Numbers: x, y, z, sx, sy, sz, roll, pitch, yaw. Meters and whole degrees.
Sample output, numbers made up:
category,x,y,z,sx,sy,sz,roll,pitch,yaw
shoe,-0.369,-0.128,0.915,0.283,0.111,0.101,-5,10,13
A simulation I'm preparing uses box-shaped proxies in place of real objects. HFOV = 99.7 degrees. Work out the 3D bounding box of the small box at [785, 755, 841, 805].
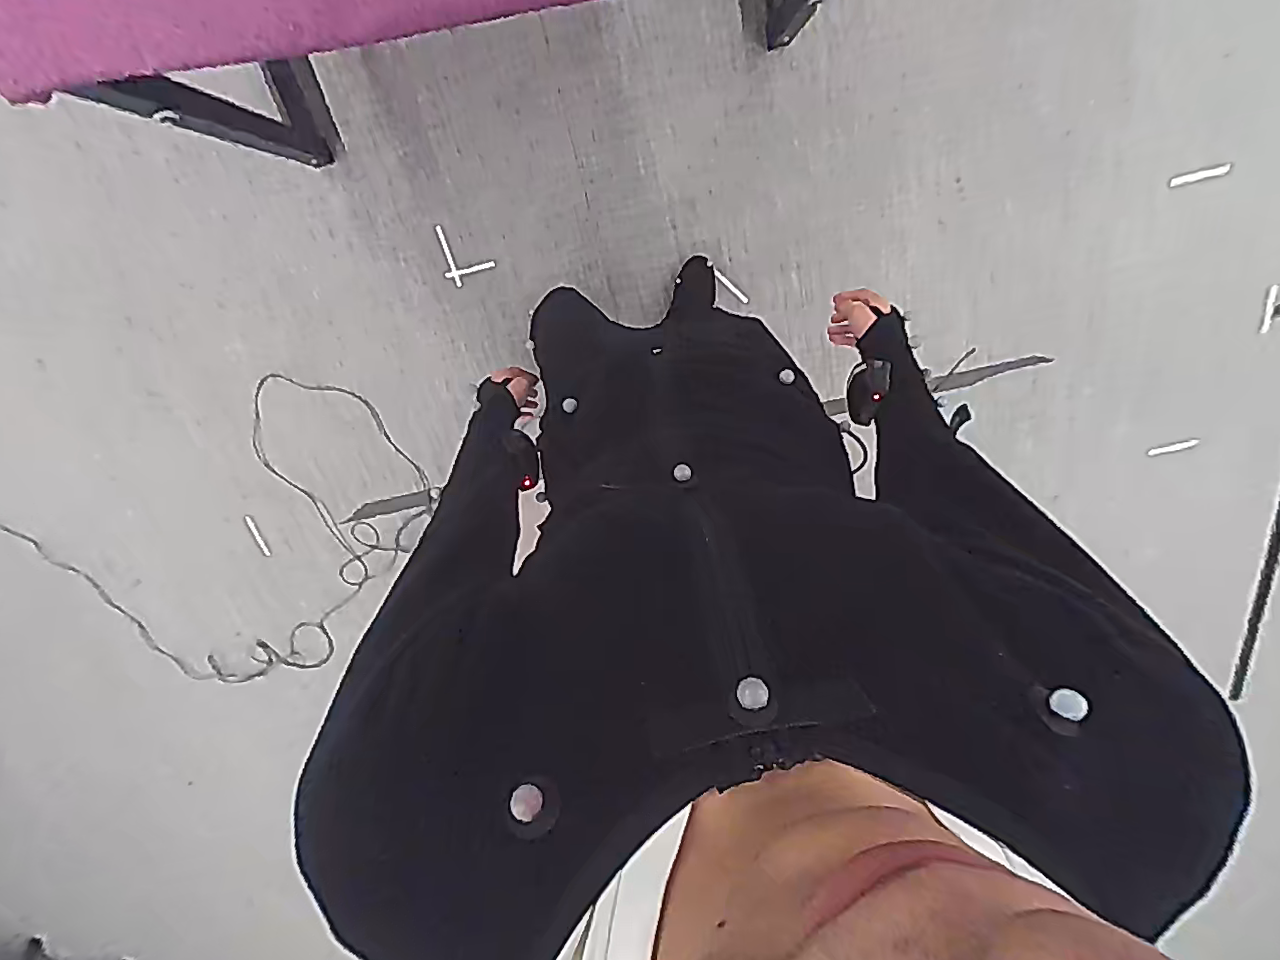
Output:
category,x,y,z,sx,sy,sz,roll,pitch,yaw
small box,0.695,1.243,2.163,0.168,0.176,0.179,-17,112,3
